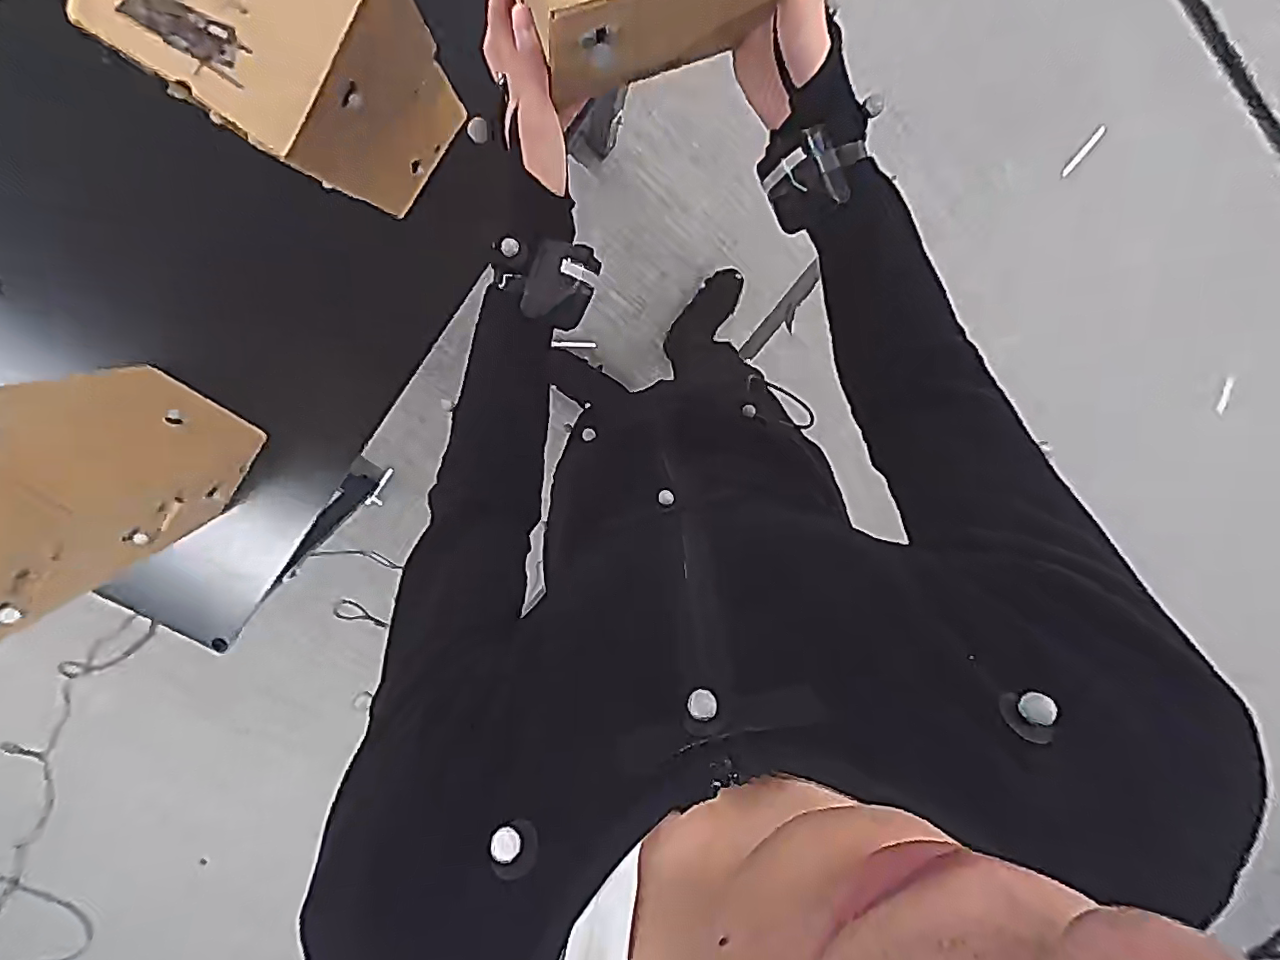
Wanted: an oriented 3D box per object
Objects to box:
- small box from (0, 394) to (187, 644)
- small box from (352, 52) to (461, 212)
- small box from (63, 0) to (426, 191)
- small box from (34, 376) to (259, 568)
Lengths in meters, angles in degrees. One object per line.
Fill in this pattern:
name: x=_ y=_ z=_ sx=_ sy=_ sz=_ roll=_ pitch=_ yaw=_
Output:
small box: x=-0.640 y=0.026 z=0.559 sx=0.179 sy=0.176 sz=0.168 roll=34 pitch=101 yaw=-16
small box: x=-0.337 y=-0.441 z=0.624 sx=0.179 sy=0.176 sz=0.168 roll=35 pitch=100 yaw=-16
small box: x=-0.313 y=-0.389 z=0.470 sx=0.168 sy=0.176 sz=0.179 roll=32 pitch=100 yaw=-15
small box: x=-0.659 y=-0.021 z=0.716 sx=0.179 sy=0.176 sz=0.168 roll=34 pitch=100 yaw=-16
